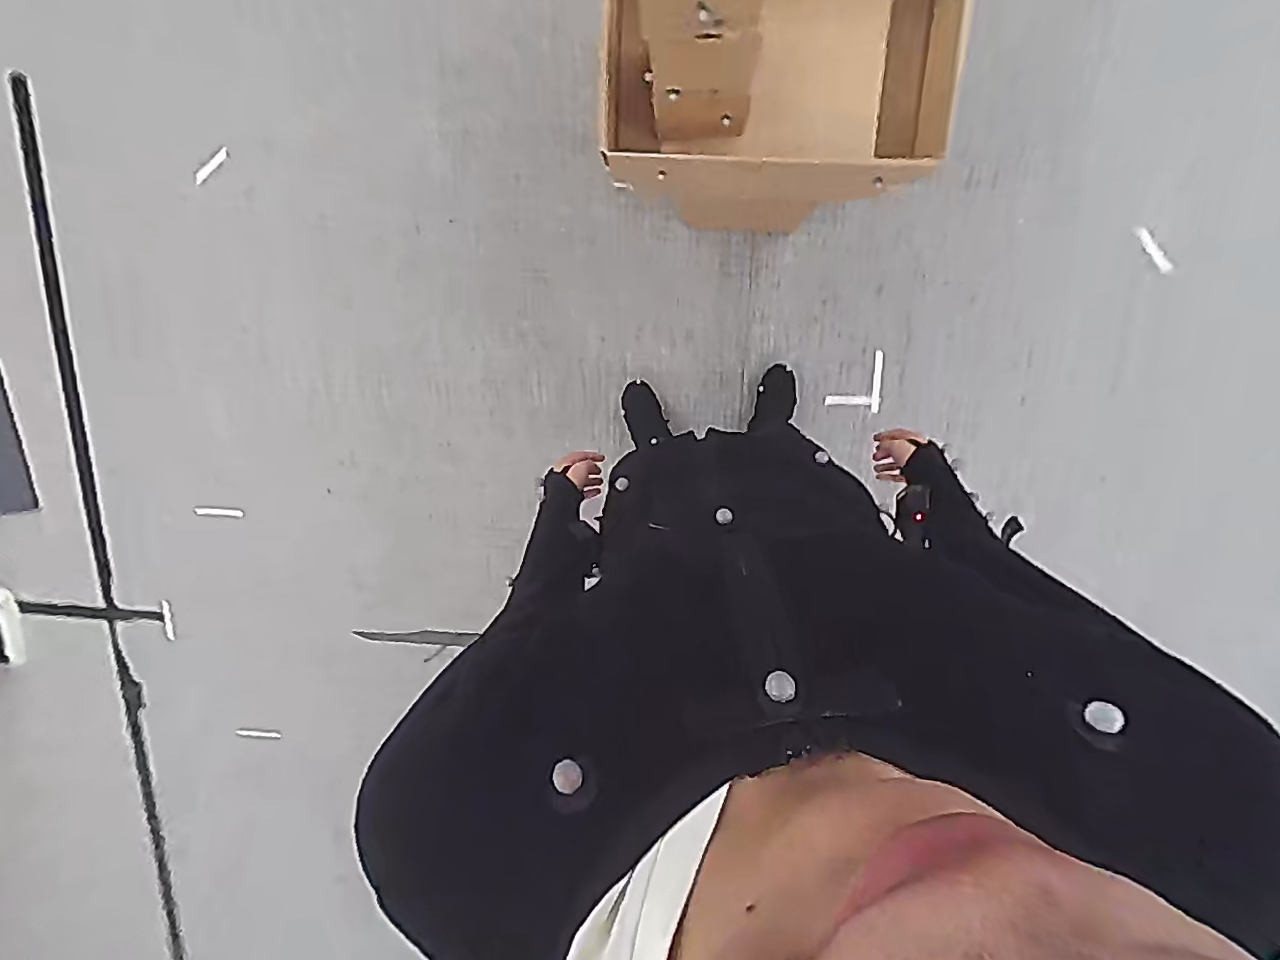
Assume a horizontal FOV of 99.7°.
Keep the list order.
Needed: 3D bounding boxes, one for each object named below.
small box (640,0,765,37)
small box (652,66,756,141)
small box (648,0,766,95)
[{"bbox_3d":[0.076,-0.694,0.660,0.168,0.176,0.179,-2,100,4],"label":"small box"},{"bbox_3d":[0.111,-0.743,0.984,0.179,0.176,0.168,-1,101,4],"label":"small box"},{"bbox_3d":[0.099,-0.717,0.823,0.168,0.176,0.179,0,100,3],"label":"small box"}]
